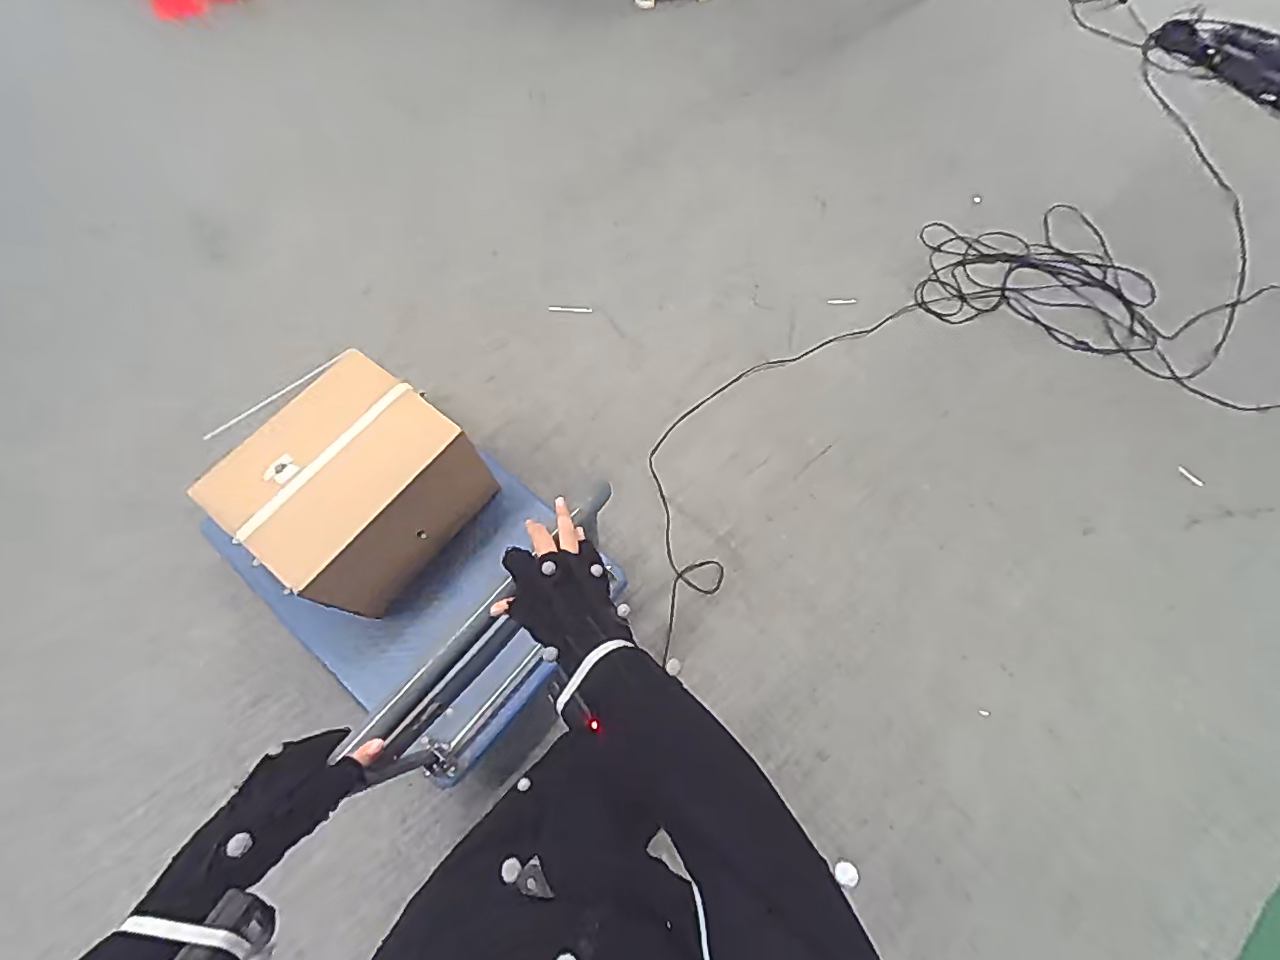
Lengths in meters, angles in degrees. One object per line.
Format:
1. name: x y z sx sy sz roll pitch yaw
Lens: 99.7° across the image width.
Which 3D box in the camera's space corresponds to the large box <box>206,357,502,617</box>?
1. large box: -0.571 0.027 1.166 0.320 0.320 0.408 35 73 14
